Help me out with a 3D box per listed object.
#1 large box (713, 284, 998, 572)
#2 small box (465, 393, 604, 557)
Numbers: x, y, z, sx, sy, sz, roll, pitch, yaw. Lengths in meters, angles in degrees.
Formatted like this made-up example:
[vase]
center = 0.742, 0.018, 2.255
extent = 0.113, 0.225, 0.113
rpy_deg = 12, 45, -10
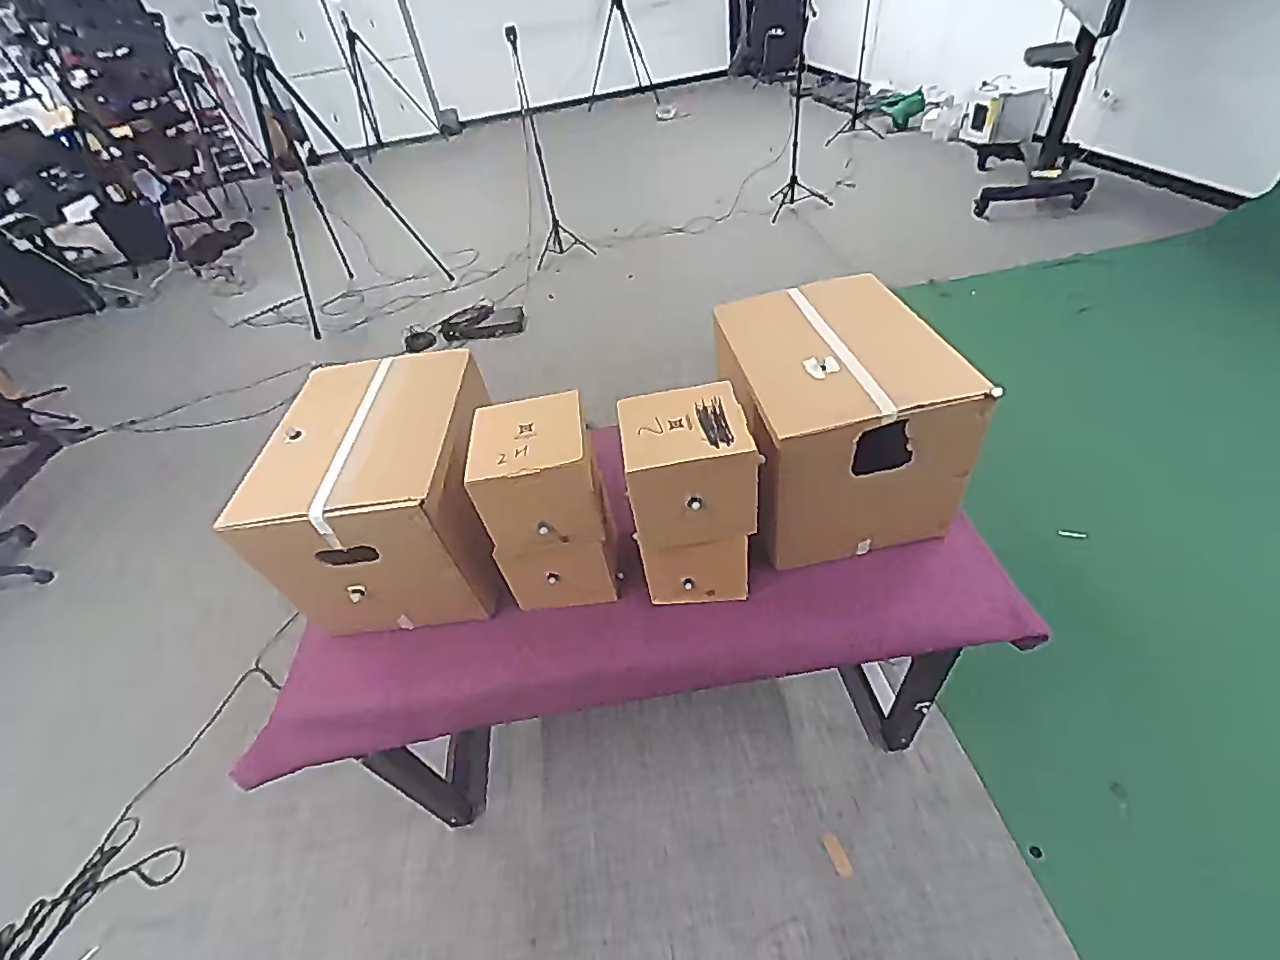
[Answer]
[large box]
center = 0.338, -0.103, 0.987
extent = 0.320, 0.320, 0.408
rpy_deg = -13, 44, 1
[small box]
center = -0.155, -0.008, 0.841
extent = 0.168, 0.176, 0.179
rpy_deg = -11, 43, 1
